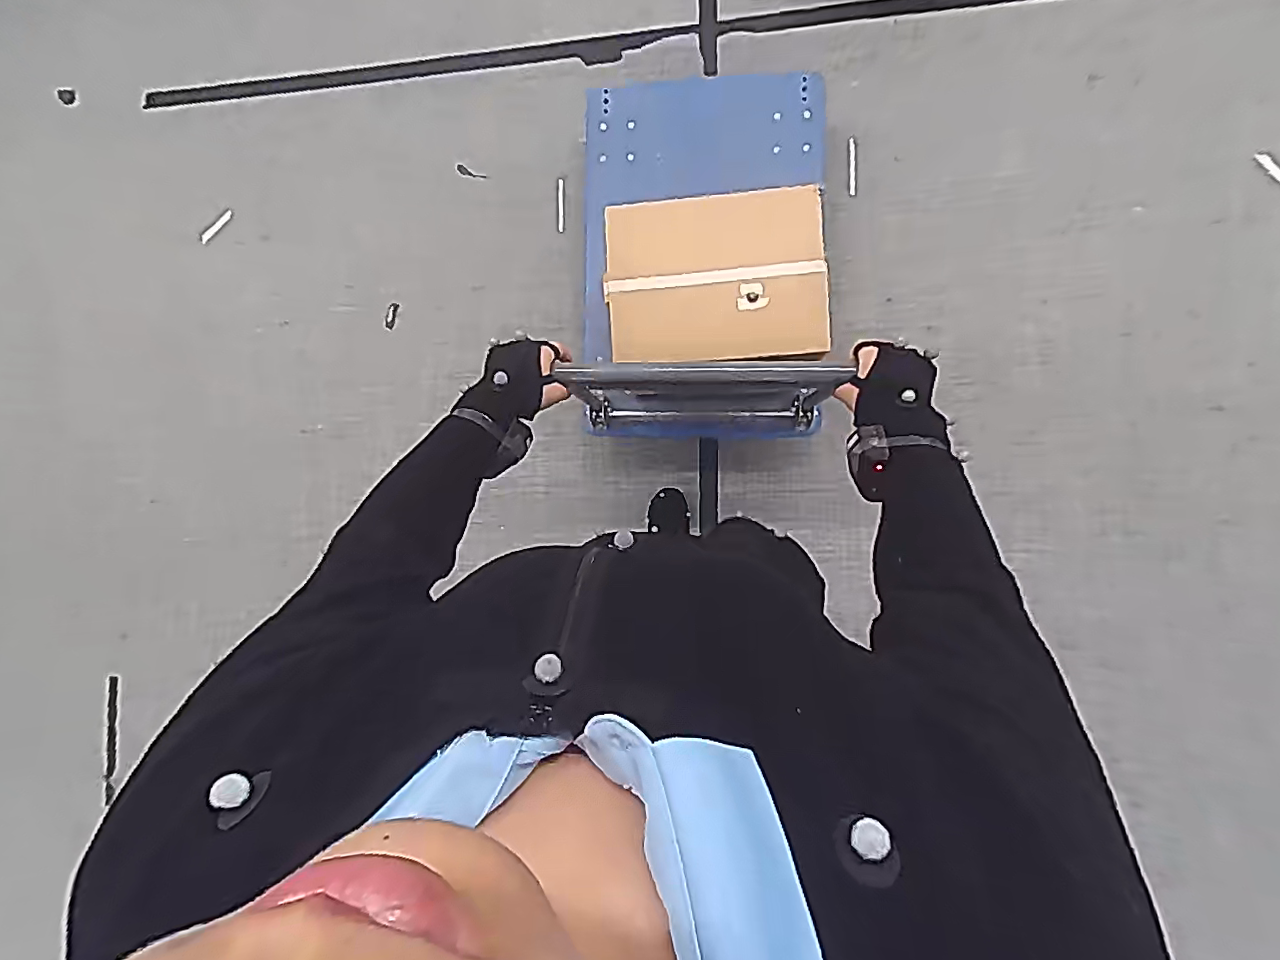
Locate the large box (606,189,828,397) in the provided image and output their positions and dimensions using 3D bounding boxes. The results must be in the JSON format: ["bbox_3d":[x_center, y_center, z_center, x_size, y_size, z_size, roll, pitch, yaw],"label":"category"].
[{"bbox_3d":[0.152,-0.373,1.168,0.408,0.320,0.320,-4,89,5],"label":"large box"}]
